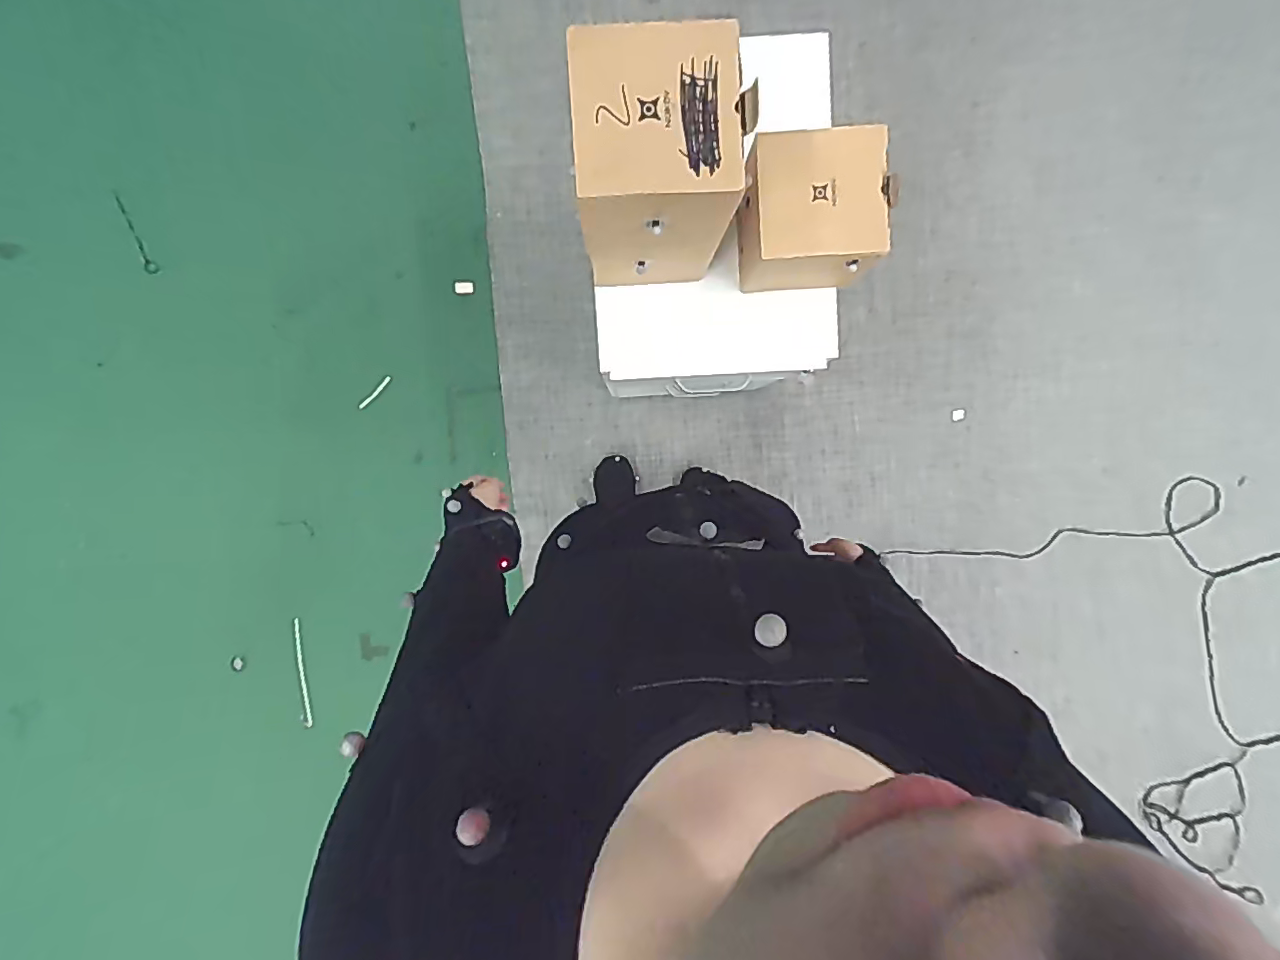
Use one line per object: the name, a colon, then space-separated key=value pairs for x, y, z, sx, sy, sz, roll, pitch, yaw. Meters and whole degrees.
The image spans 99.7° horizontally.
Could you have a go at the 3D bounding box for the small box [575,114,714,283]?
small box: x=0.006 y=-0.394 z=0.786 sx=0.179 sy=0.176 sz=0.168 roll=-4 pitch=95 yaw=-1
